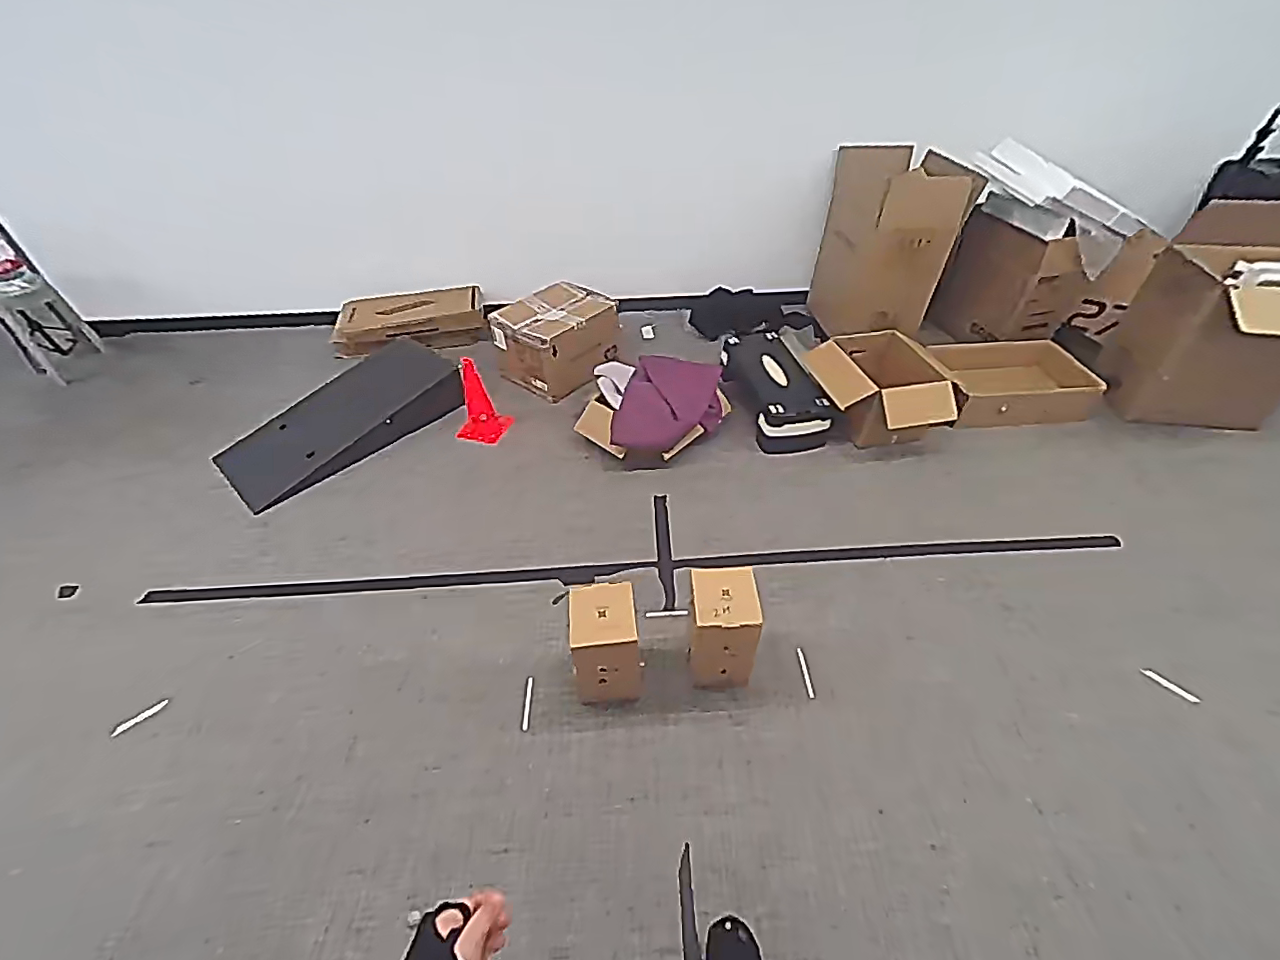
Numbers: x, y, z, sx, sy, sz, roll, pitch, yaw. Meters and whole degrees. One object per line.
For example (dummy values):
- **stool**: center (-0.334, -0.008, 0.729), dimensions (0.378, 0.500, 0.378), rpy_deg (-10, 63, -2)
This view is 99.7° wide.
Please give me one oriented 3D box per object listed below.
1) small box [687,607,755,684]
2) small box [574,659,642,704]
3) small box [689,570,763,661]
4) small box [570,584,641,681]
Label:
- **small box**: center (0.227, 0.475, 1.556), dimensions (0.168, 0.176, 0.179), rpy_deg (-3, 44, -1)
- **small box**: center (-0.089, 0.515, 1.523), dimensions (0.179, 0.176, 0.168), rpy_deg (-4, 44, -2)
- **small box**: center (0.220, 0.359, 1.437), dimensions (0.168, 0.176, 0.179), rpy_deg (-2, 44, 0)
- **small box**: center (-0.090, 0.399, 1.410), dimensions (0.168, 0.176, 0.179), rpy_deg (-7, 45, -3)
